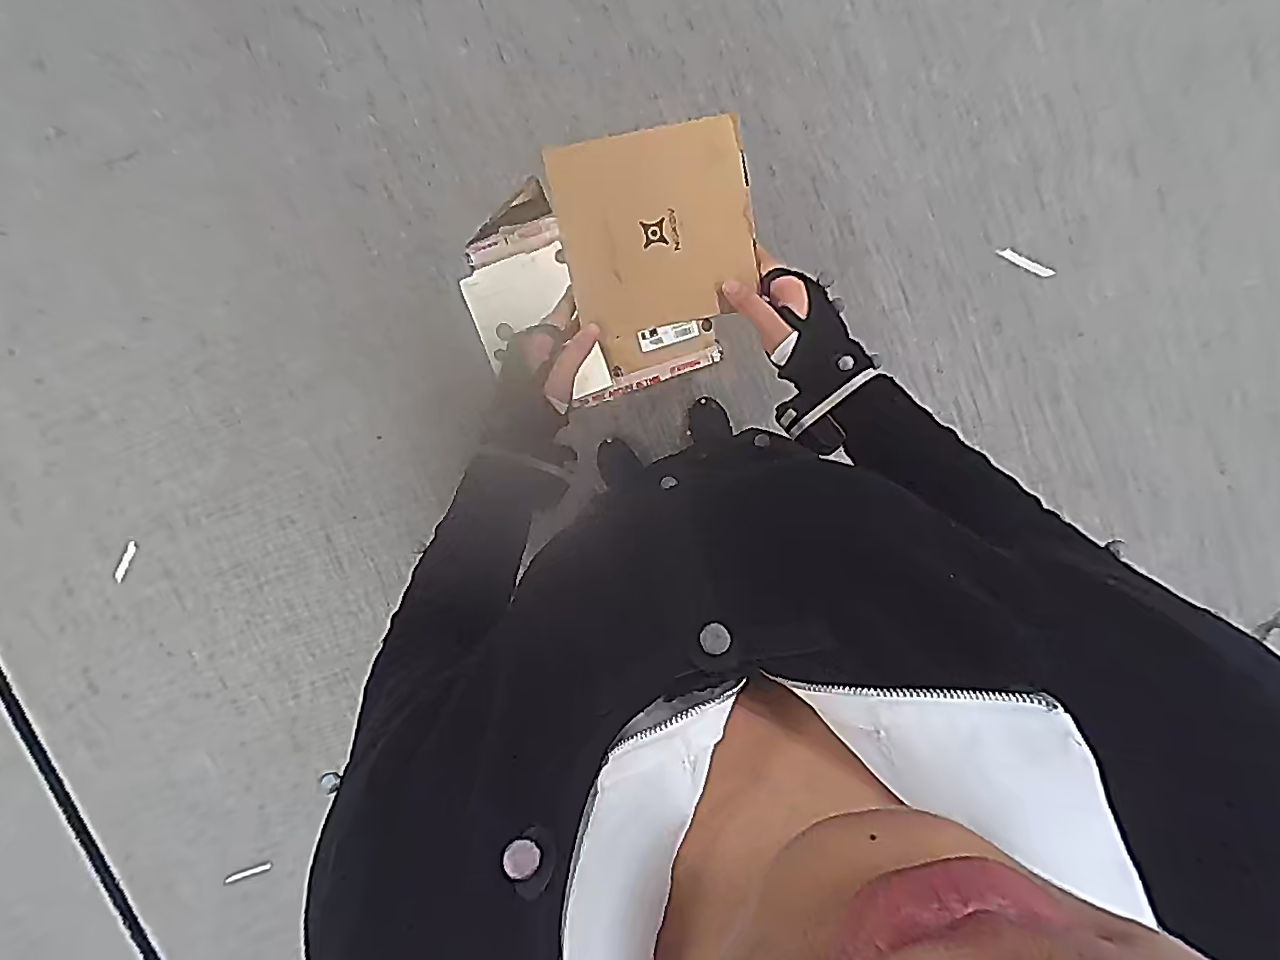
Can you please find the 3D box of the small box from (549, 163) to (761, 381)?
[{"bbox_3d":[0.013,-0.211,0.578,0.179,0.176,0.168,-13,106,1],"label":"small box"}]
